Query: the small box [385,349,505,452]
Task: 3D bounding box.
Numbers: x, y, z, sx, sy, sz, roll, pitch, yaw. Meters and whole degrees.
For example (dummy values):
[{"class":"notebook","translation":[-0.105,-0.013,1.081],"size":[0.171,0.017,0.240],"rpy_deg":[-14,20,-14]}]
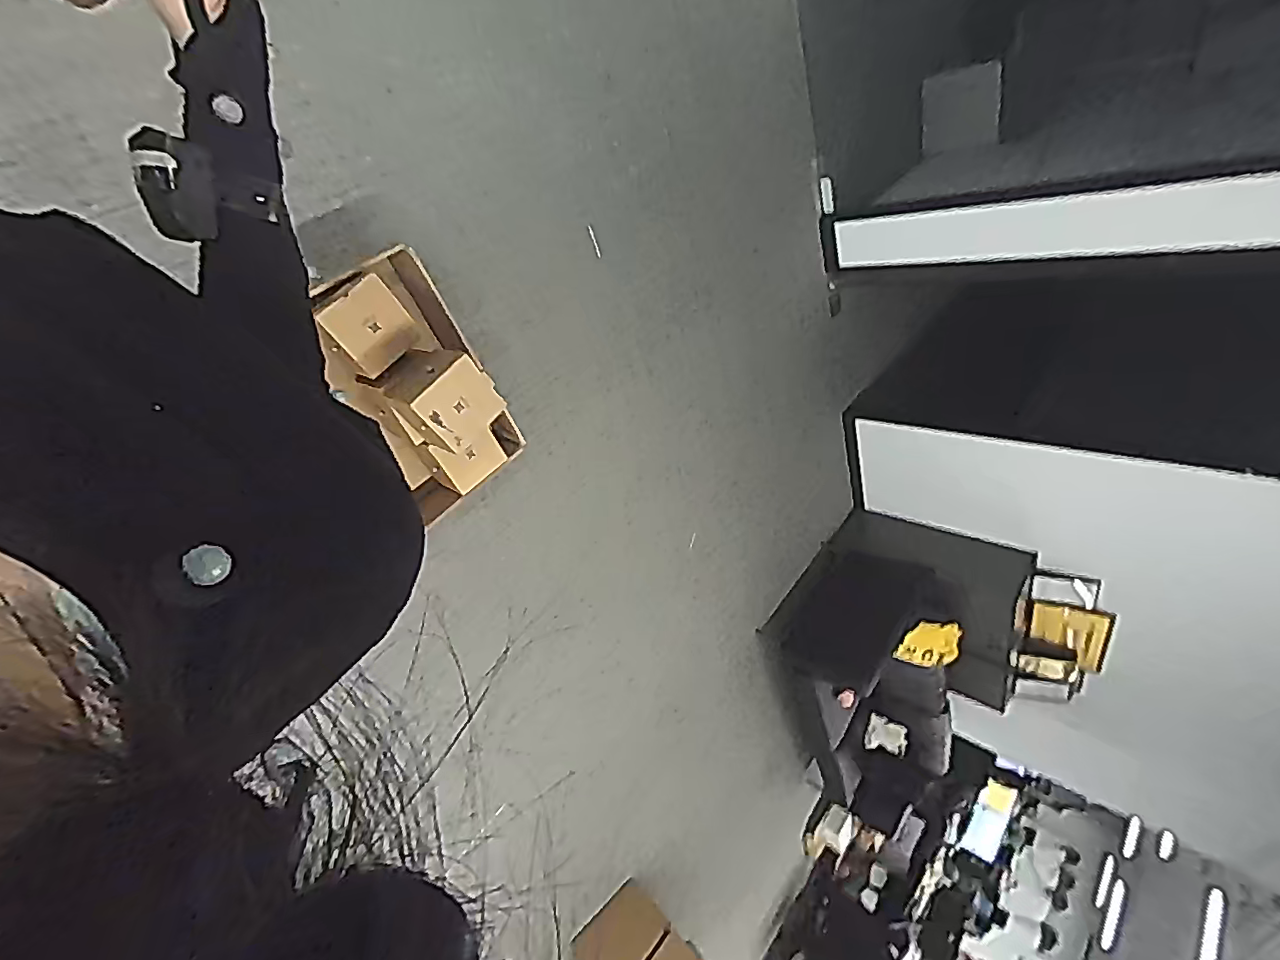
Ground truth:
[{"class":"small box","translation":[-0.463,-0.195,1.282],"size":[0.179,0.176,0.168],"rpy_deg":[-51,133,-21]}]
